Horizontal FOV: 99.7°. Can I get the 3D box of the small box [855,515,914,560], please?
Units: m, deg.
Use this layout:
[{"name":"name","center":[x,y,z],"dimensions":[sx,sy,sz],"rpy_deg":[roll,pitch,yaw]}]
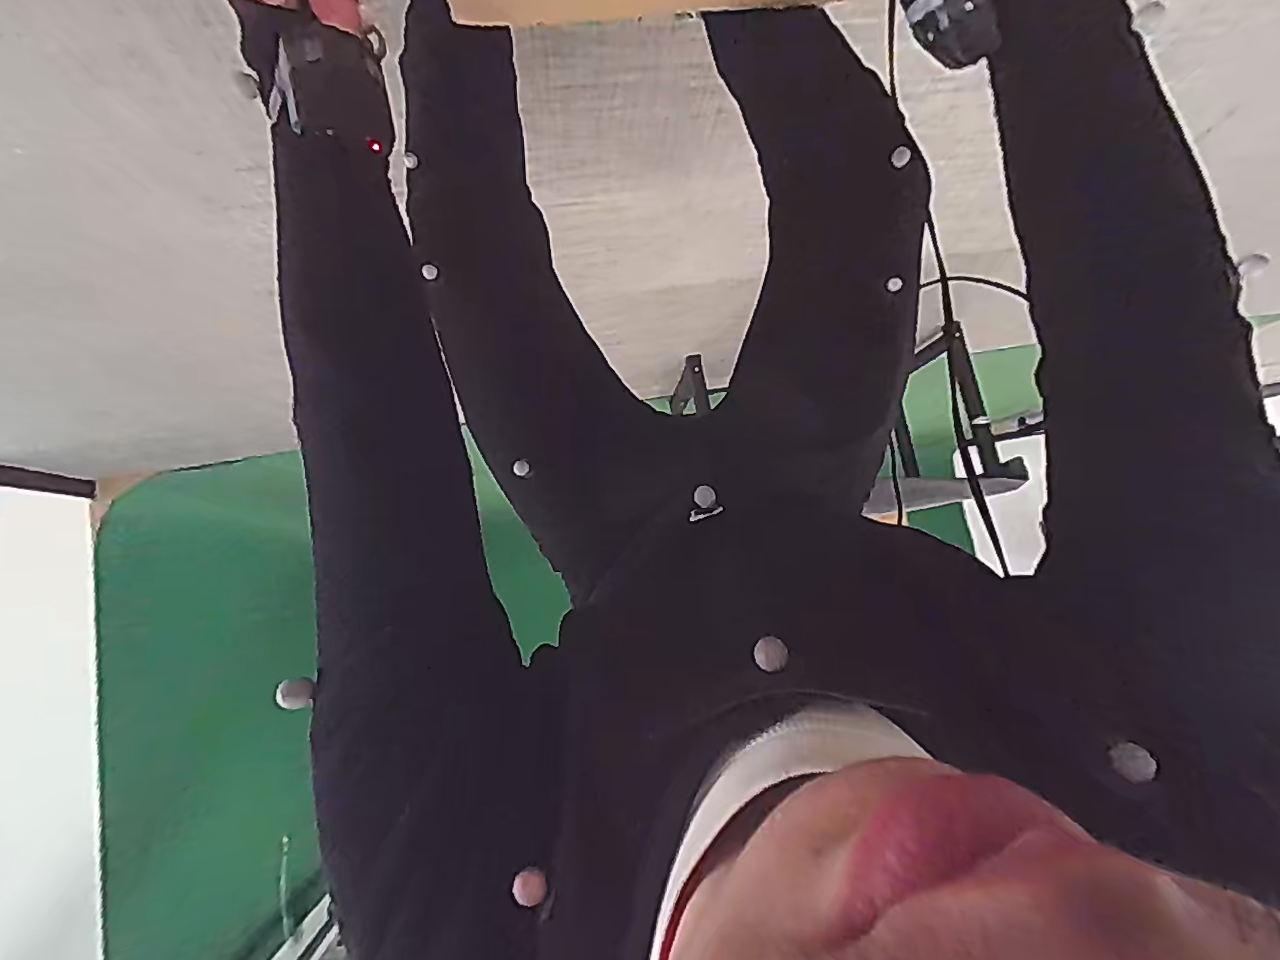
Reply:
[{"name":"small box","center":[1.084,0.257,2.417],"dimensions":[0.168,0.176,0.179],"rpy_deg":[-11,170,-2]}]
